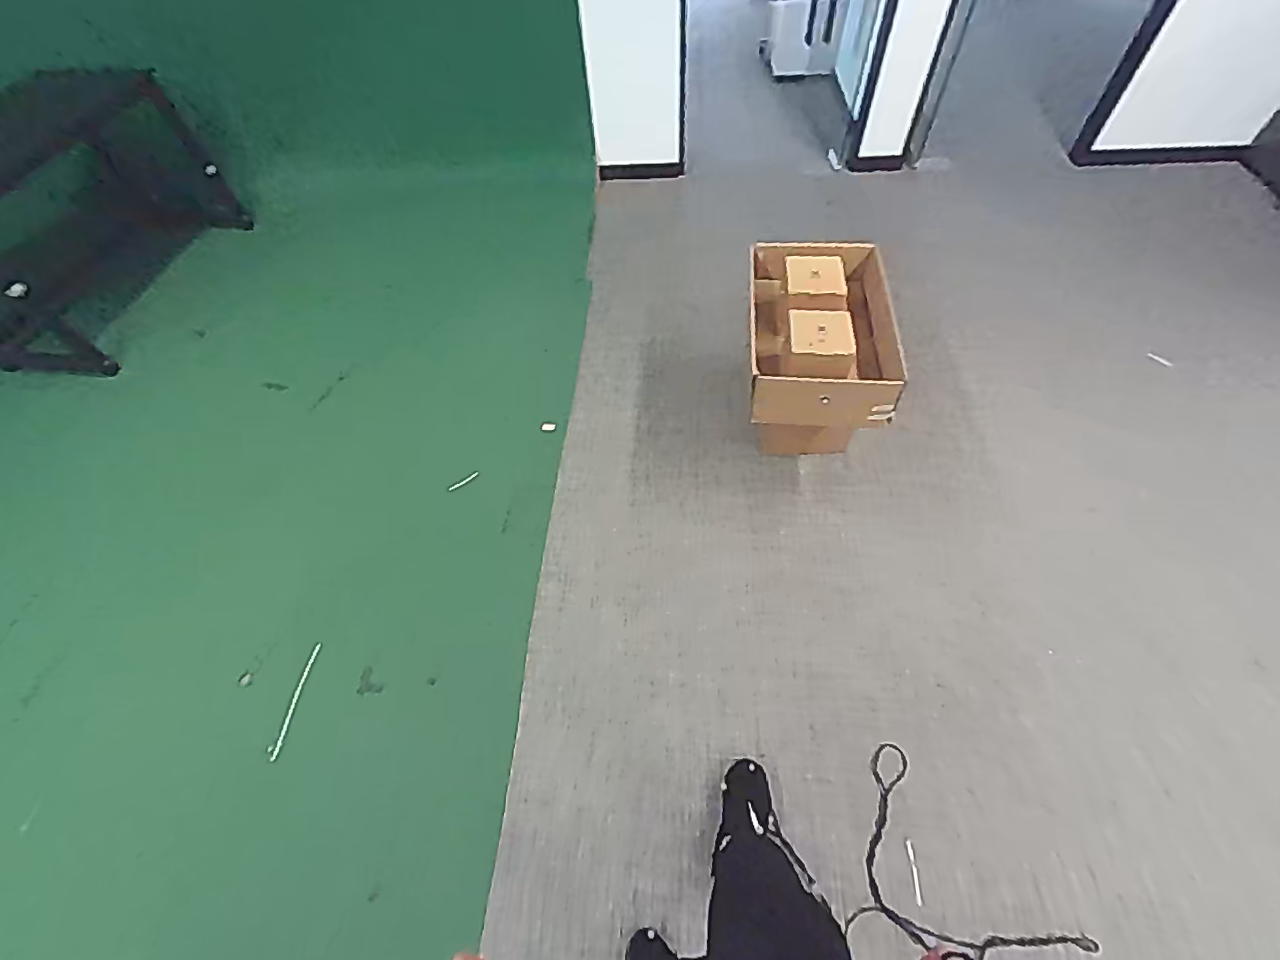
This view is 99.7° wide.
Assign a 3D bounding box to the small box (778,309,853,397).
[{"bbox_3d":[0.484,-0.357,1.518,0.168,0.176,0.179,3,56,7],"label":"small box"}]

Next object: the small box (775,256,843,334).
[{"bbox_3d":[0.513,-0.565,1.664,0.168,0.176,0.179,2,57,5],"label":"small box"}]
